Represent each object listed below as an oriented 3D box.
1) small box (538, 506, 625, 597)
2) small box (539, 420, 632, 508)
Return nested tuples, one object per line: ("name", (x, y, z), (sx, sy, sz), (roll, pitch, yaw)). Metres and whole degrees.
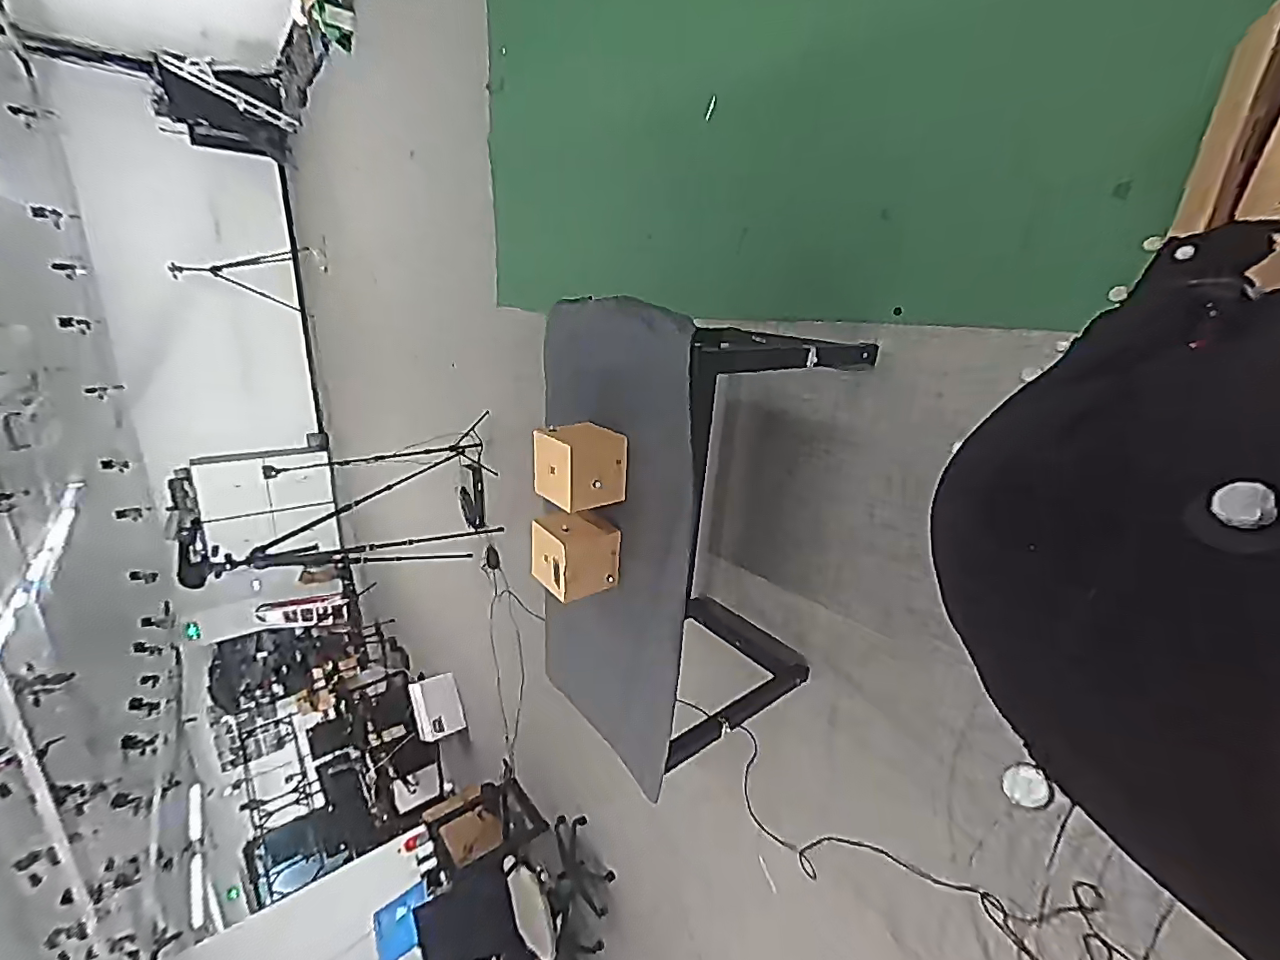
("small box", (-0.156, 0.181, 1.442), (0.179, 0.176, 0.168), (28, 121, 47))
("small box", (-0.134, -0.048, 1.350), (0.179, 0.176, 0.168), (24, 119, 48))
